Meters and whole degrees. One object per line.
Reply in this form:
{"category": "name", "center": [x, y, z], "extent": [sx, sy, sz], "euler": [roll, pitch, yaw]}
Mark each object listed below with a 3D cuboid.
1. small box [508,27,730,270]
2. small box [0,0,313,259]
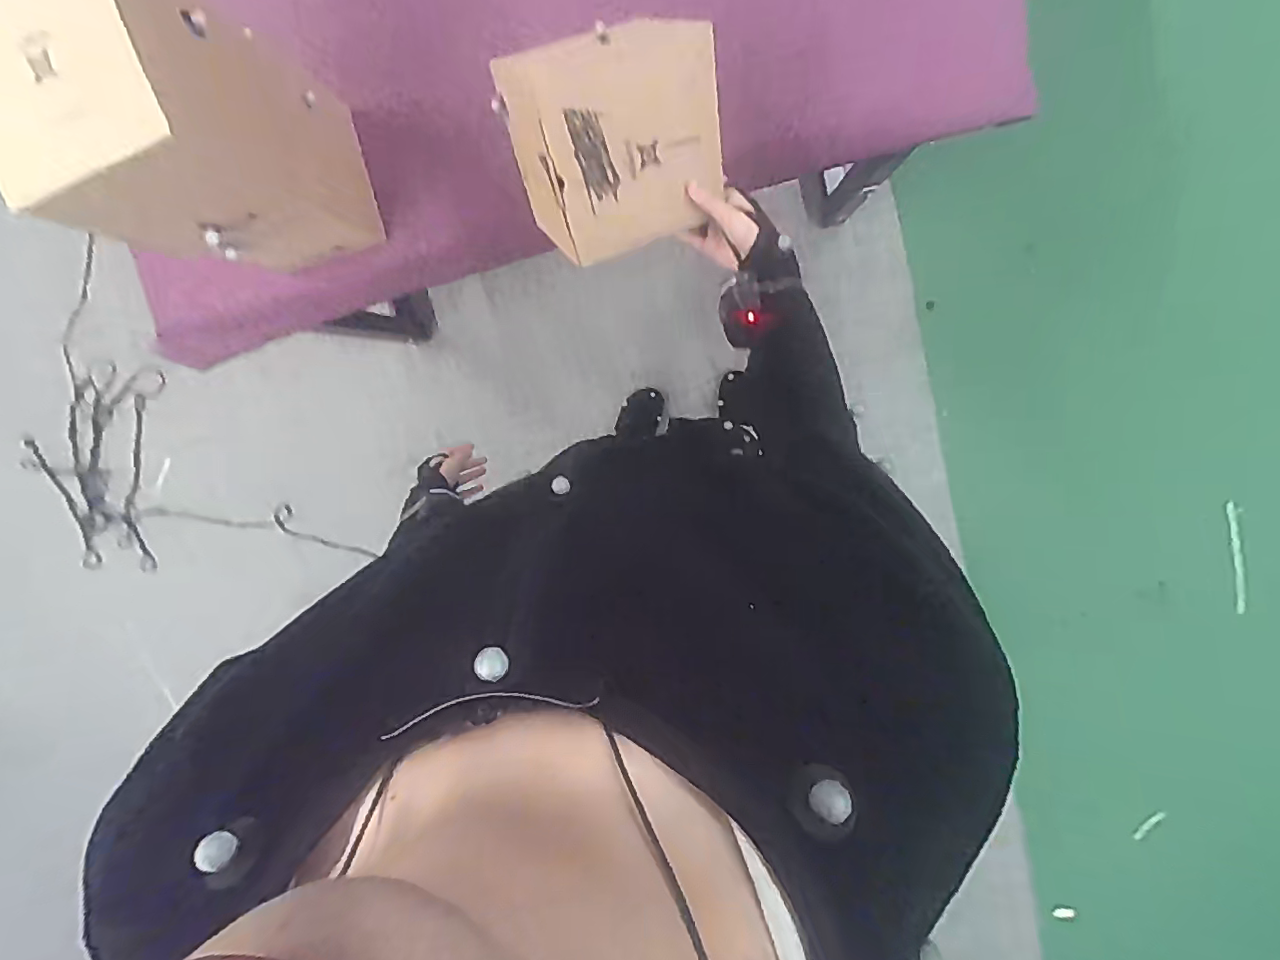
{"category": "small box", "center": [-0.025, -0.351, 0.567], "extent": [0.179, 0.176, 0.168], "euler": [-25, 137, -11]}
{"category": "small box", "center": [-0.452, -0.331, 0.497], "extent": [0.168, 0.176, 0.179], "euler": [-18, 98, 8]}
